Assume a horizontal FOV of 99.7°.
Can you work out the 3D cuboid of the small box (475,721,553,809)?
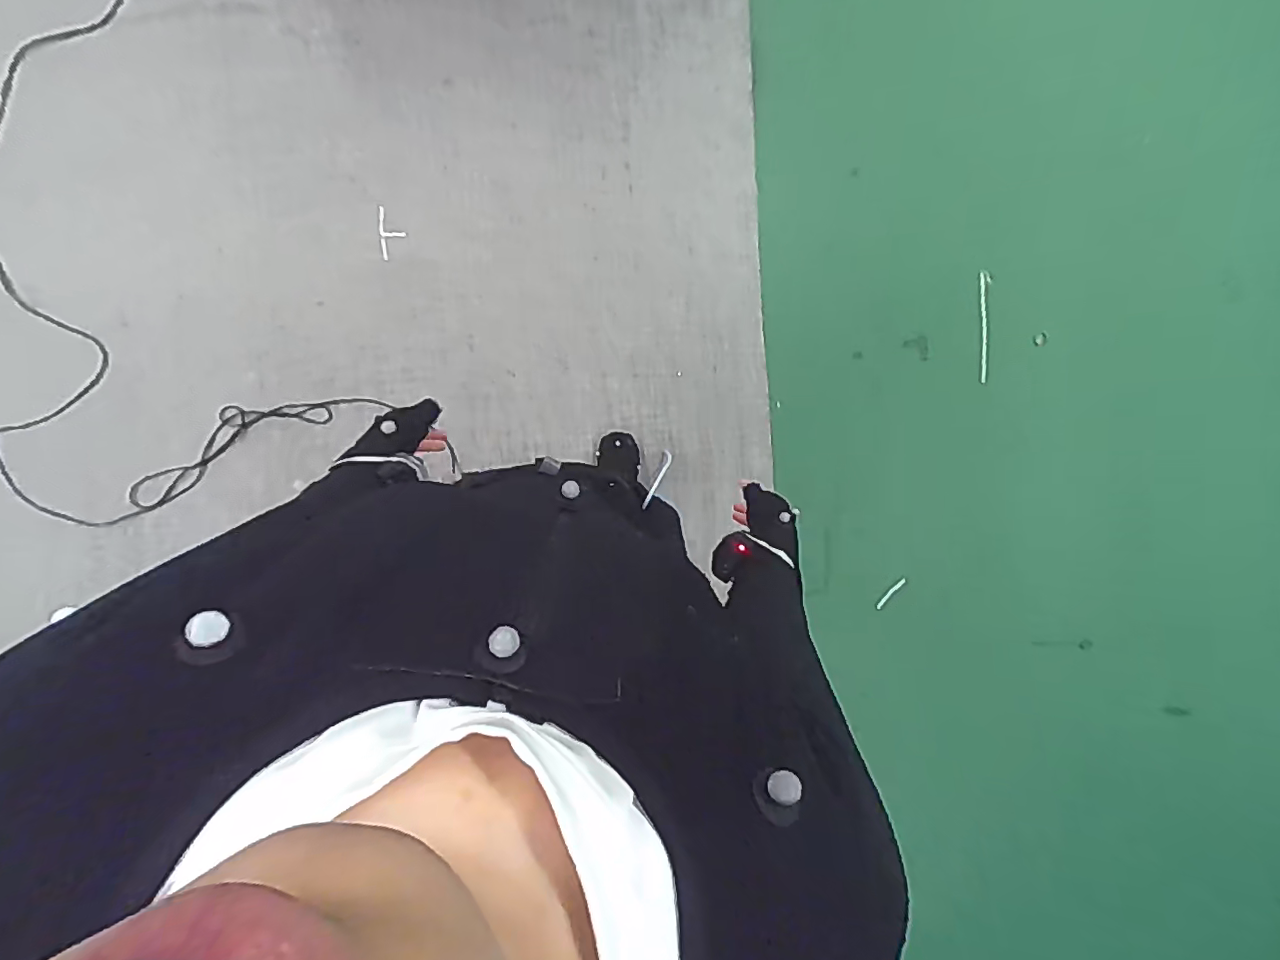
[{"bbox_3d":[-0.314,0.746,1.378,0.168,0.176,0.179,-4,95,-5],"label":"small box"}]

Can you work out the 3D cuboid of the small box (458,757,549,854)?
[{"bbox_3d":[-0.299,0.762,1.217,0.168,0.176,0.179,-5,95,-5],"label":"small box"}]
